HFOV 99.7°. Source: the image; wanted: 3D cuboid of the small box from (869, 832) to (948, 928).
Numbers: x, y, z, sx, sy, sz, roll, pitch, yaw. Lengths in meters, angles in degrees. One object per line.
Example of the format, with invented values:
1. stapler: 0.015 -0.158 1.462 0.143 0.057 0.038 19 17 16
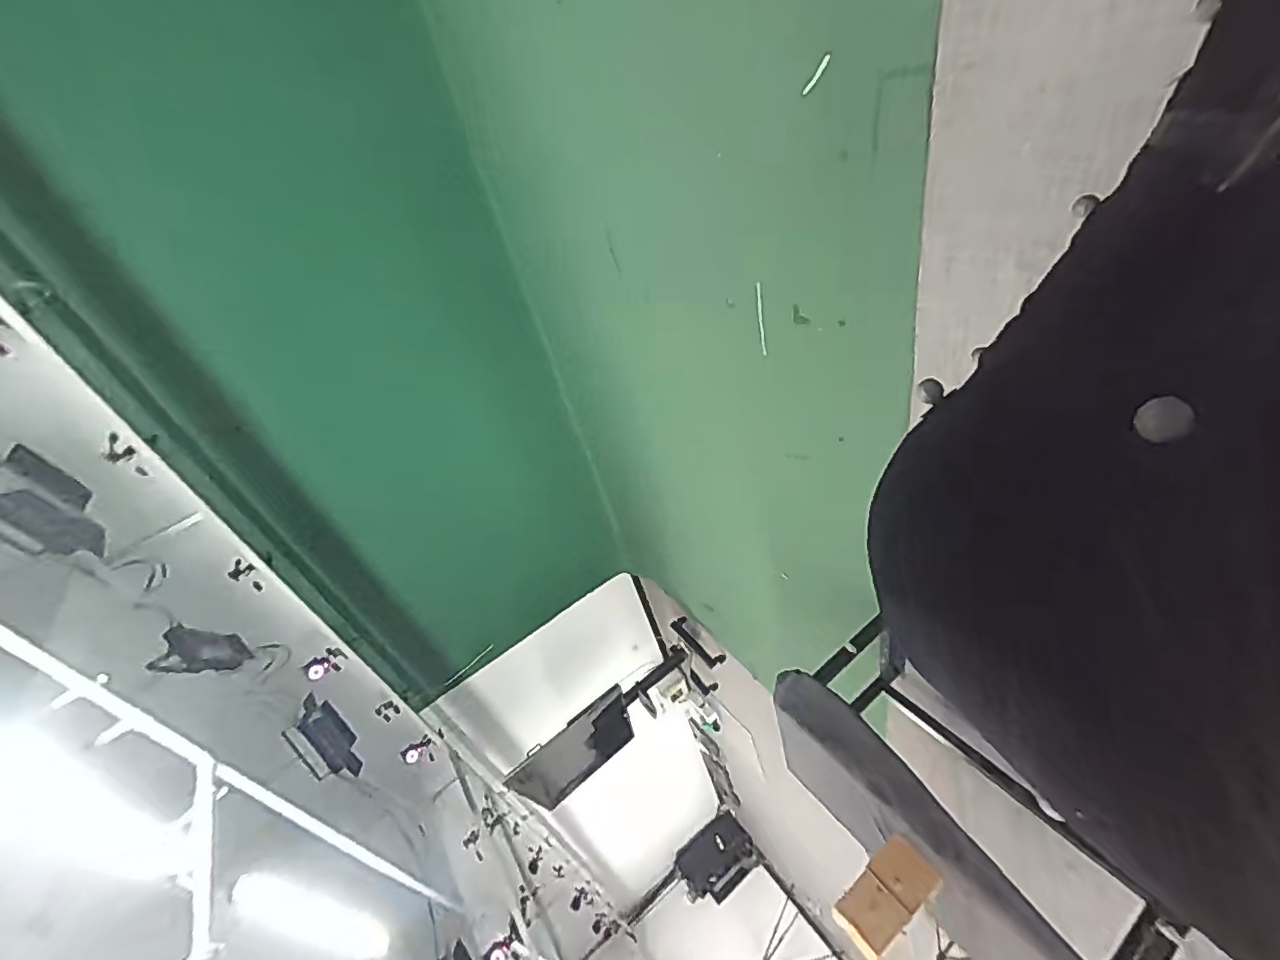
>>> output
1. small box: 0.895 1.332 1.807 0.179 0.176 0.168 38 153 46

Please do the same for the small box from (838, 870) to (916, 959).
1. small box: 0.766 1.415 1.750 0.168 0.176 0.179 37 152 45
